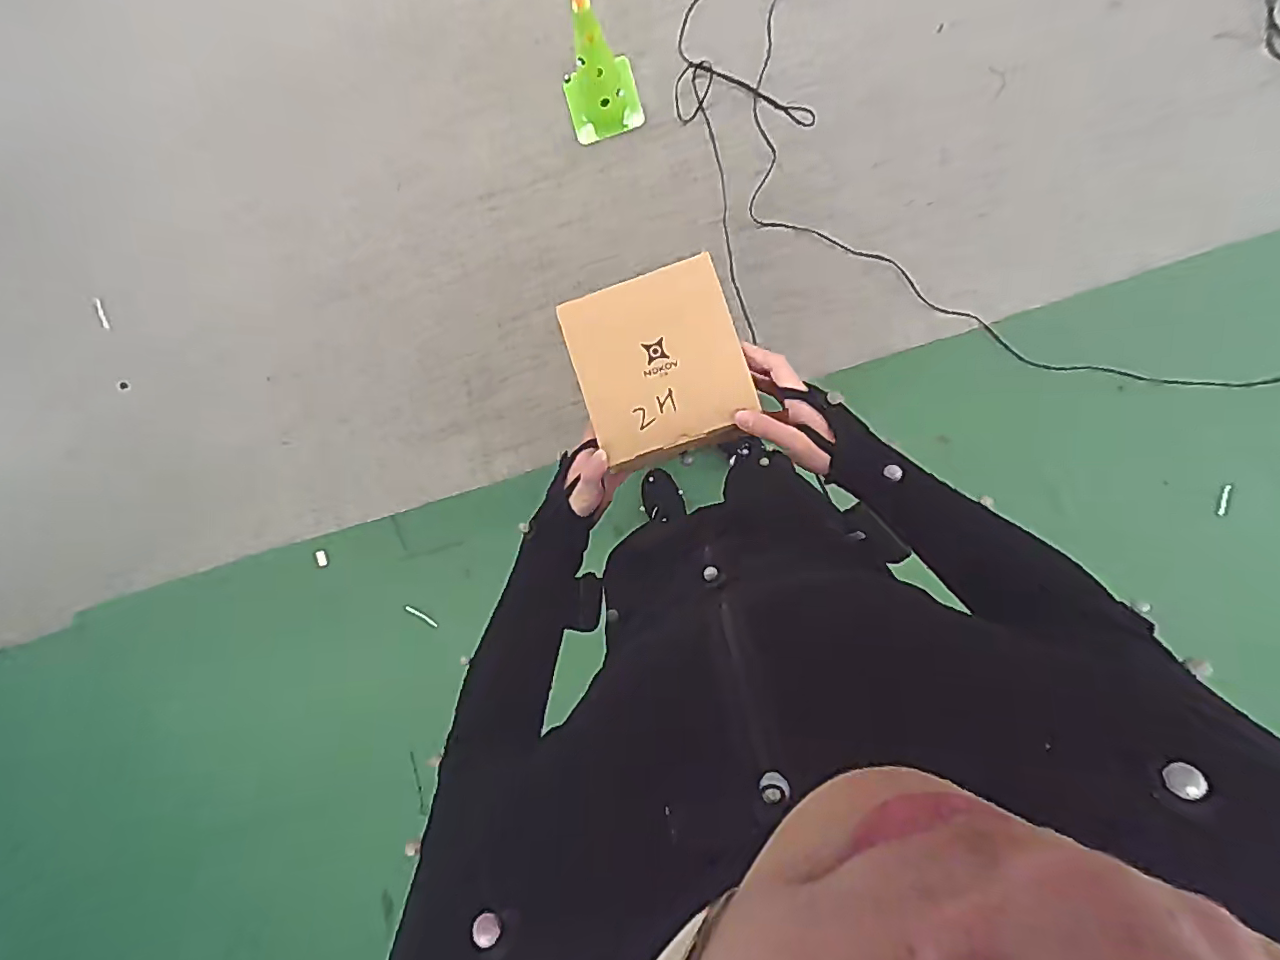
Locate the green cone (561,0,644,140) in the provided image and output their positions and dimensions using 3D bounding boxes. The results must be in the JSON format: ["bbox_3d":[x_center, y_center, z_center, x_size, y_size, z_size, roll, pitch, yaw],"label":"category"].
[{"bbox_3d":[-0.114,-1.064,1.351,0.202,0.368,0.200,-16,94,4],"label":"green cone"}]
